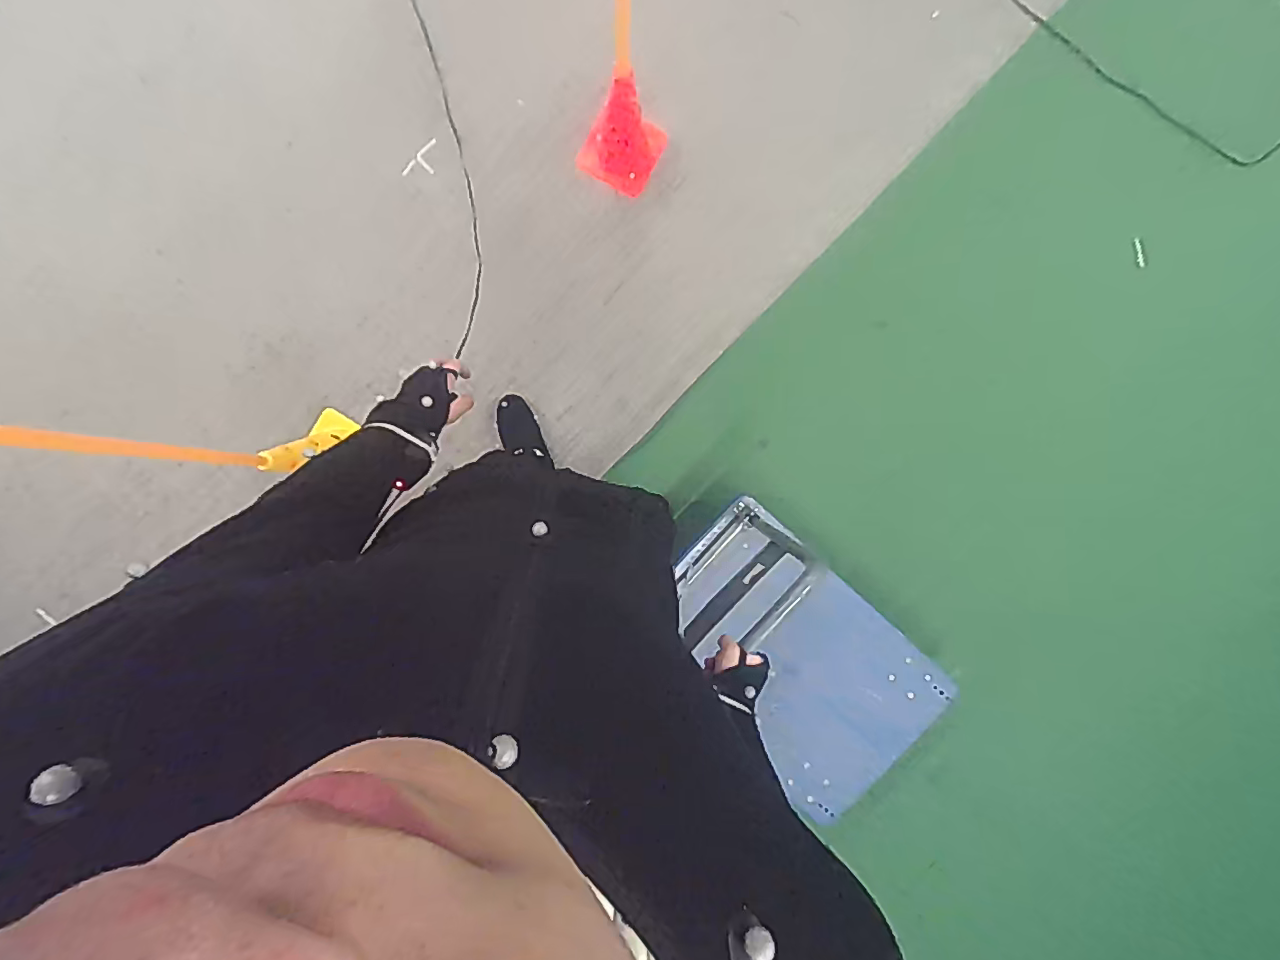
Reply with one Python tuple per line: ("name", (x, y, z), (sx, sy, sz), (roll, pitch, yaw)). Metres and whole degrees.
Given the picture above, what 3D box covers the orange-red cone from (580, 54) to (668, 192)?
("orange-red cone", (-0.034, -0.915, 1.333), (0.198, 0.360, 0.199), (30, 93, -6))
